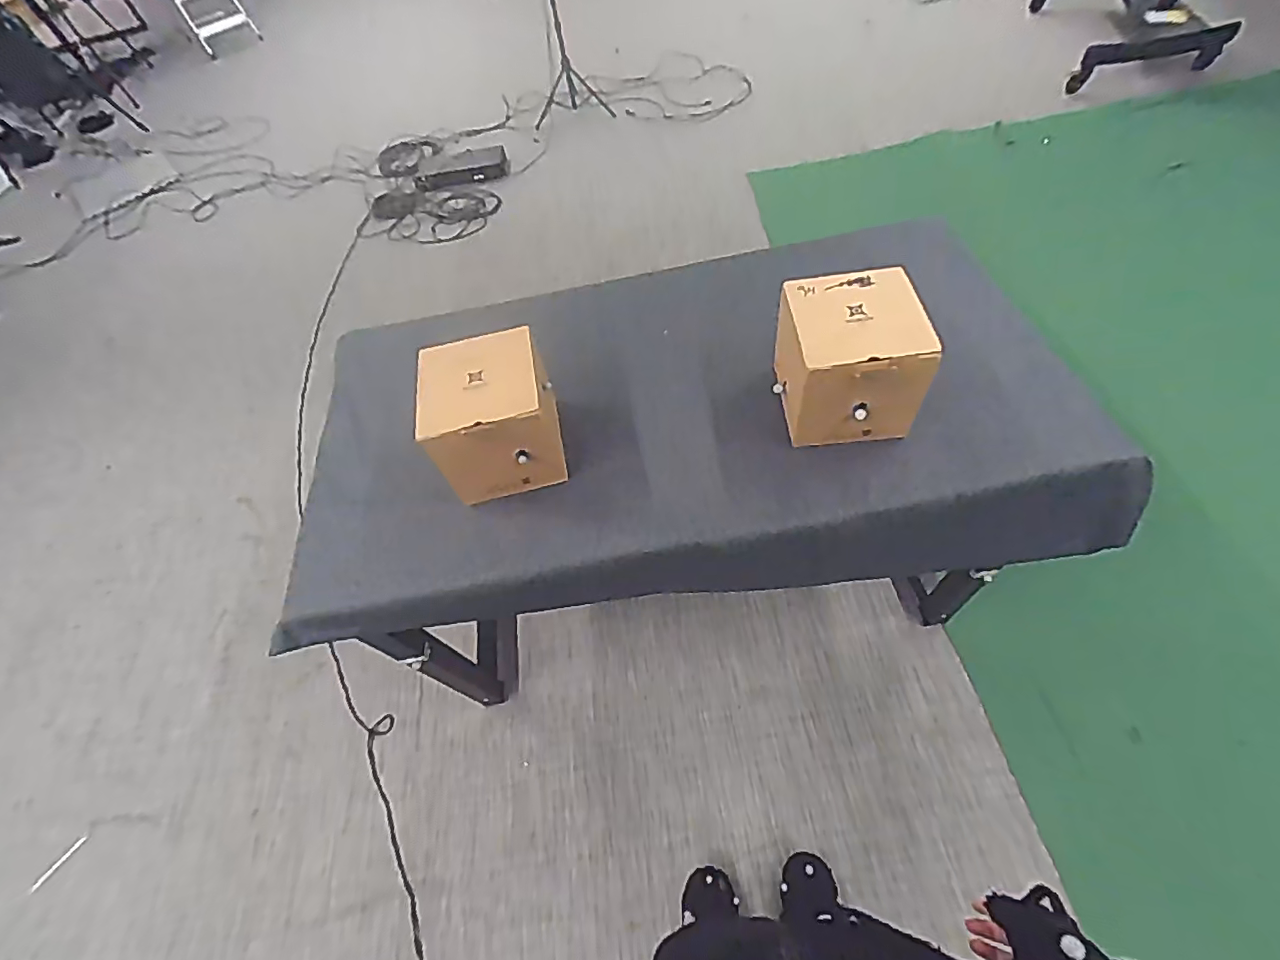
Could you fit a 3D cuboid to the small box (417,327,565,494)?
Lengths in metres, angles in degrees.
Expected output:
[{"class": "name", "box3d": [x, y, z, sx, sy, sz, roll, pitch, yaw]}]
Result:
[{"class": "small box", "box3d": [-0.218, -0.095, 0.817, 0.168, 0.176, 0.179, -14, 55, -2]}]

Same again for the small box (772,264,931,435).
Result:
[{"class": "small box", "box3d": [0.291, -0.179, 0.786, 0.168, 0.176, 0.179, -6, 58, 6]}]
